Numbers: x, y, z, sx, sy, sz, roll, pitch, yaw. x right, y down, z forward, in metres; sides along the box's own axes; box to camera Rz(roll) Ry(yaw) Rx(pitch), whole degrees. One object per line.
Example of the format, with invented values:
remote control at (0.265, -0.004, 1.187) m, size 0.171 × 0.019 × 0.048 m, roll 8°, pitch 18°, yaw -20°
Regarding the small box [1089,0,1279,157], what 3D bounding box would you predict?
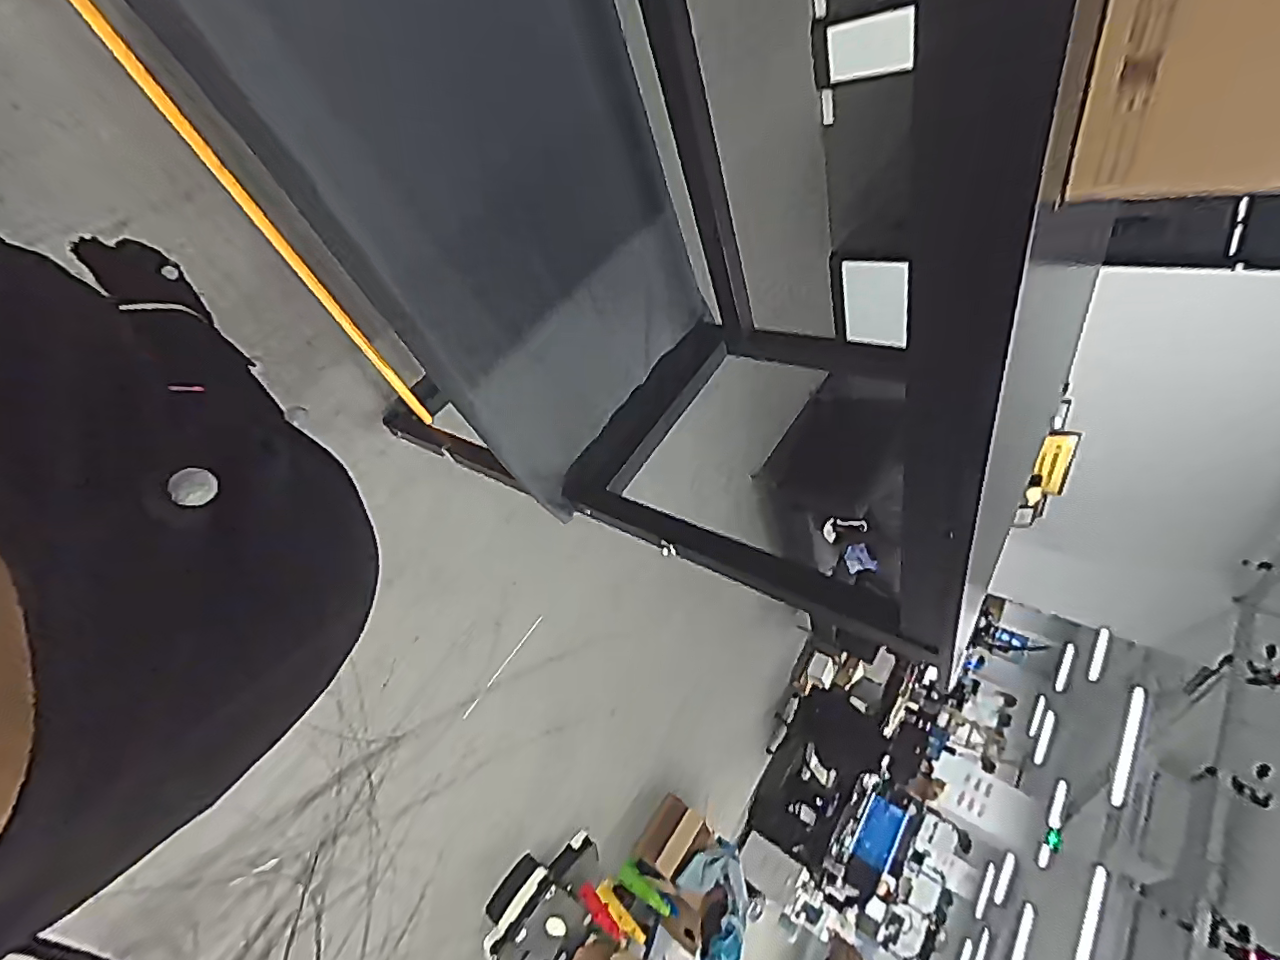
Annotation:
small box at (0.329, -0.266, 0.235) m, size 0.179 × 0.176 × 0.168 m, roll -51°, pitch 139°, yaw -26°
